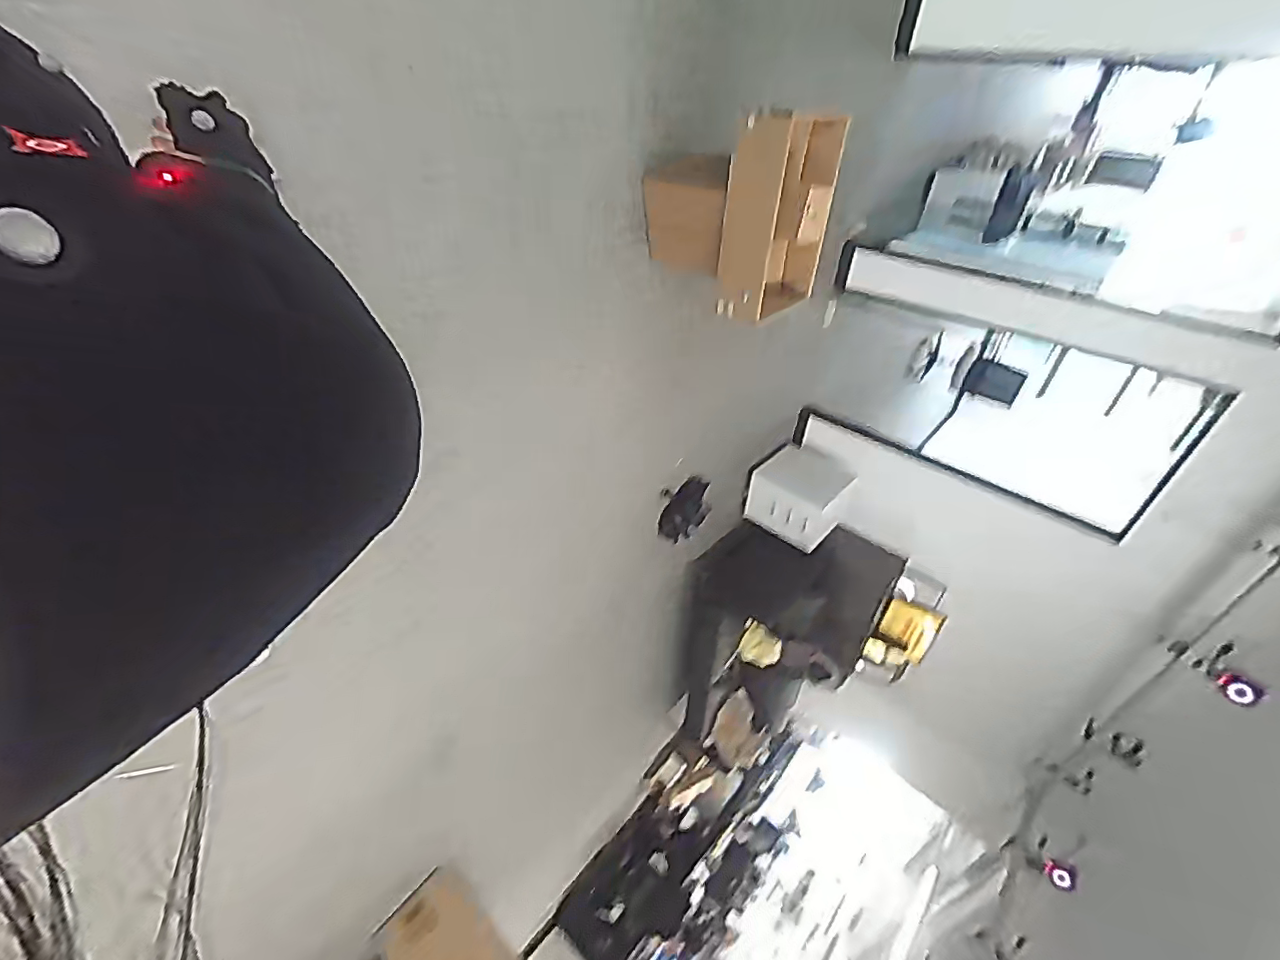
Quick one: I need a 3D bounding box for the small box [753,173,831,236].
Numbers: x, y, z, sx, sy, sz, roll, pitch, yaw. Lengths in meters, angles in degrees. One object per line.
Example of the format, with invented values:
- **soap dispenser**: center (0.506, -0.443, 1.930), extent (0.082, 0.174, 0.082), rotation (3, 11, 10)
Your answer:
- **small box**: center (0.506, -0.922, 1.810), extent (0.179, 0.176, 0.168), rotation (-28, 136, -43)
